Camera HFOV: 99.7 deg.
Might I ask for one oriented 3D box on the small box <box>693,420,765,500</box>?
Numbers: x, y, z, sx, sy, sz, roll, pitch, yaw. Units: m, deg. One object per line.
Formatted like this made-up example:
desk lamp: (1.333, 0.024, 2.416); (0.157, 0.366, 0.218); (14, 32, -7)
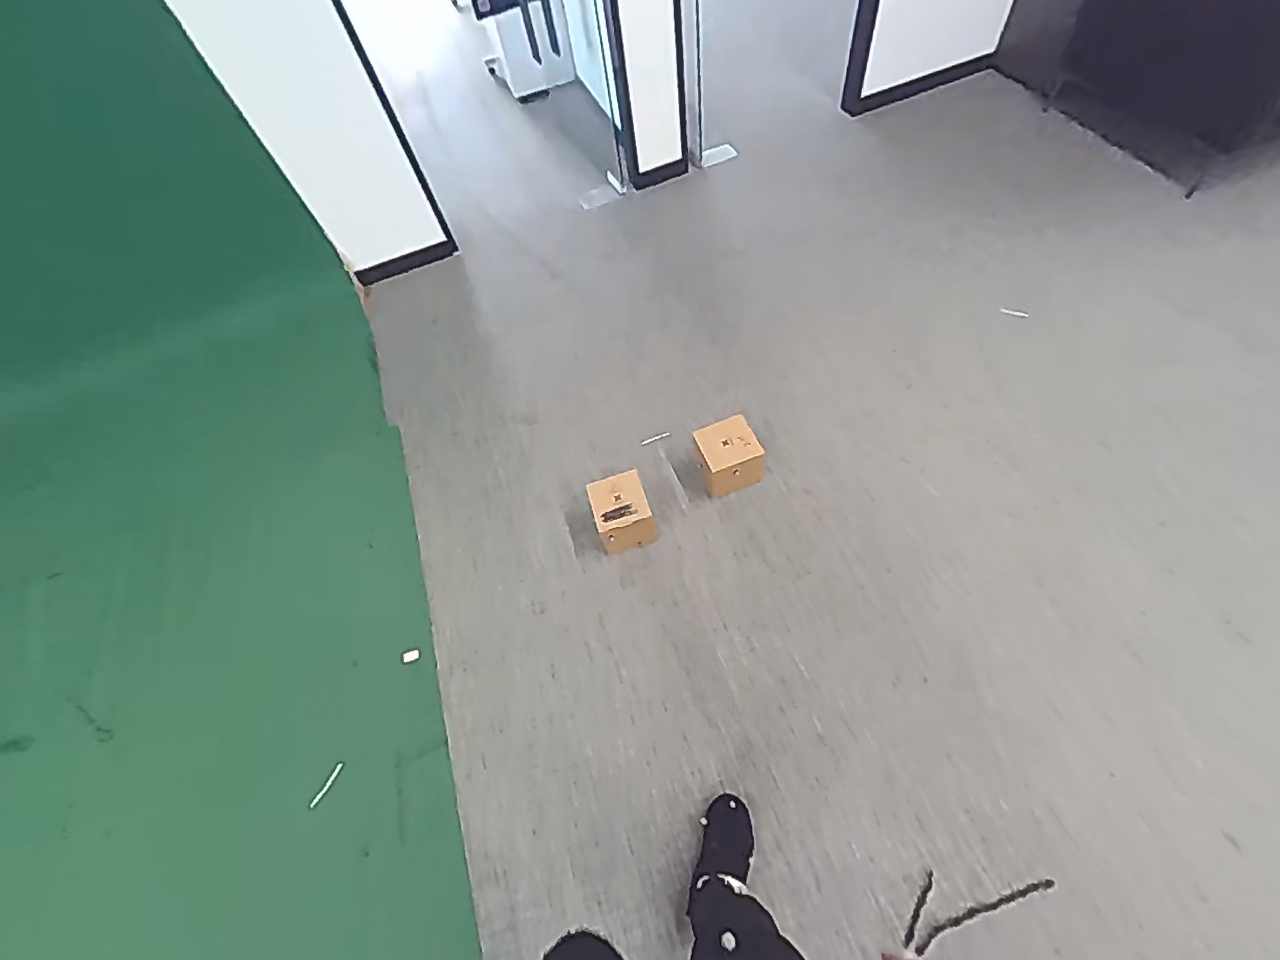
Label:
small box: (0.285, -0.060, 1.744); (0.179, 0.176, 0.168); (-20, 58, -5)
